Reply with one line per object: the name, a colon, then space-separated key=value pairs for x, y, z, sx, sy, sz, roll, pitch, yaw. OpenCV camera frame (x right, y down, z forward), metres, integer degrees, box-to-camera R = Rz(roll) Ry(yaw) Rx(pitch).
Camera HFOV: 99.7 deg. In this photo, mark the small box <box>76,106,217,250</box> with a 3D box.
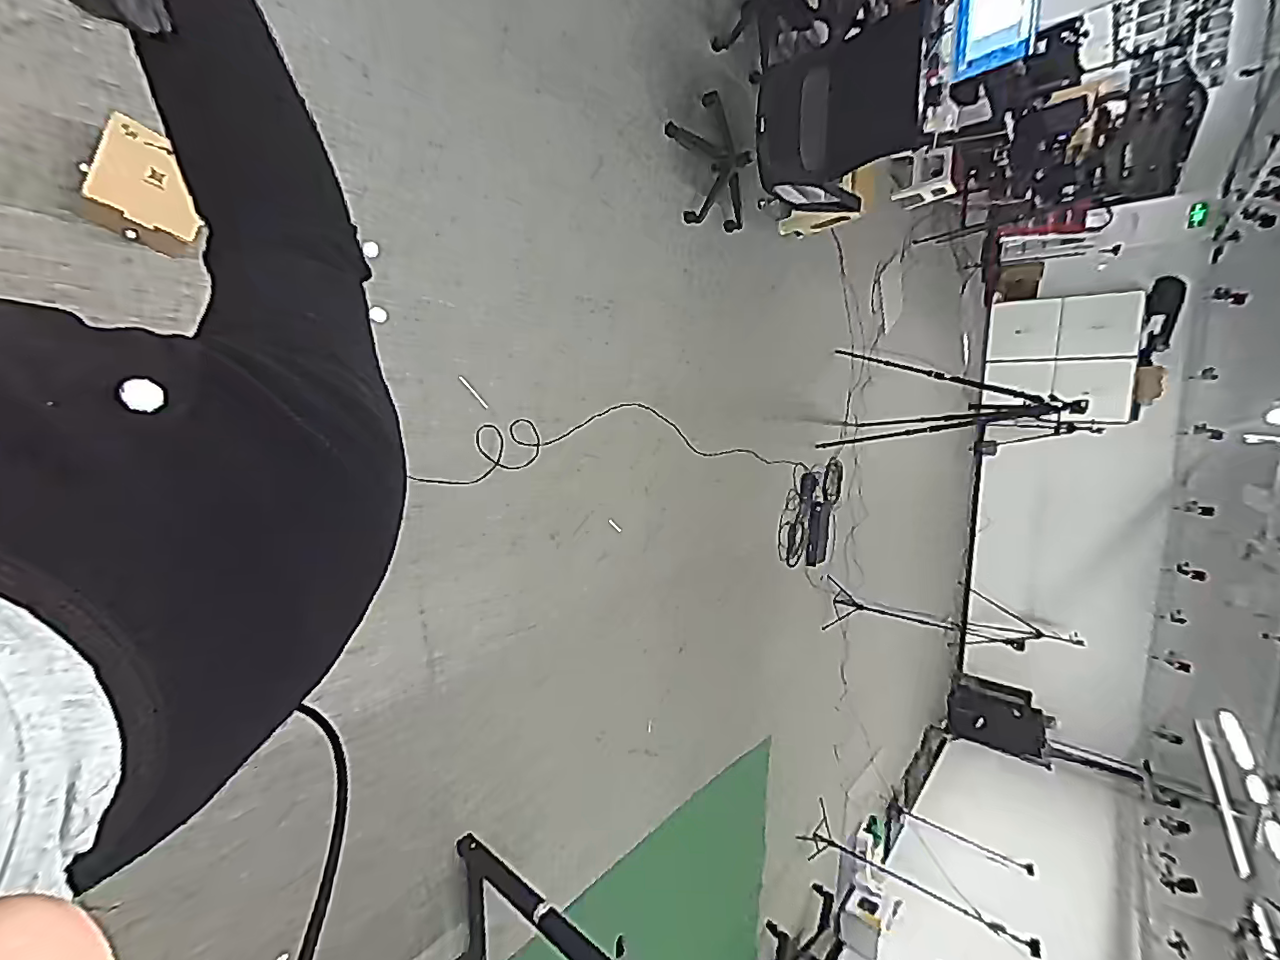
small box: x=-0.995 y=-0.592 z=1.090 sx=0.168 sy=0.176 sz=0.179 roll=22 pitch=80 yaw=-48
